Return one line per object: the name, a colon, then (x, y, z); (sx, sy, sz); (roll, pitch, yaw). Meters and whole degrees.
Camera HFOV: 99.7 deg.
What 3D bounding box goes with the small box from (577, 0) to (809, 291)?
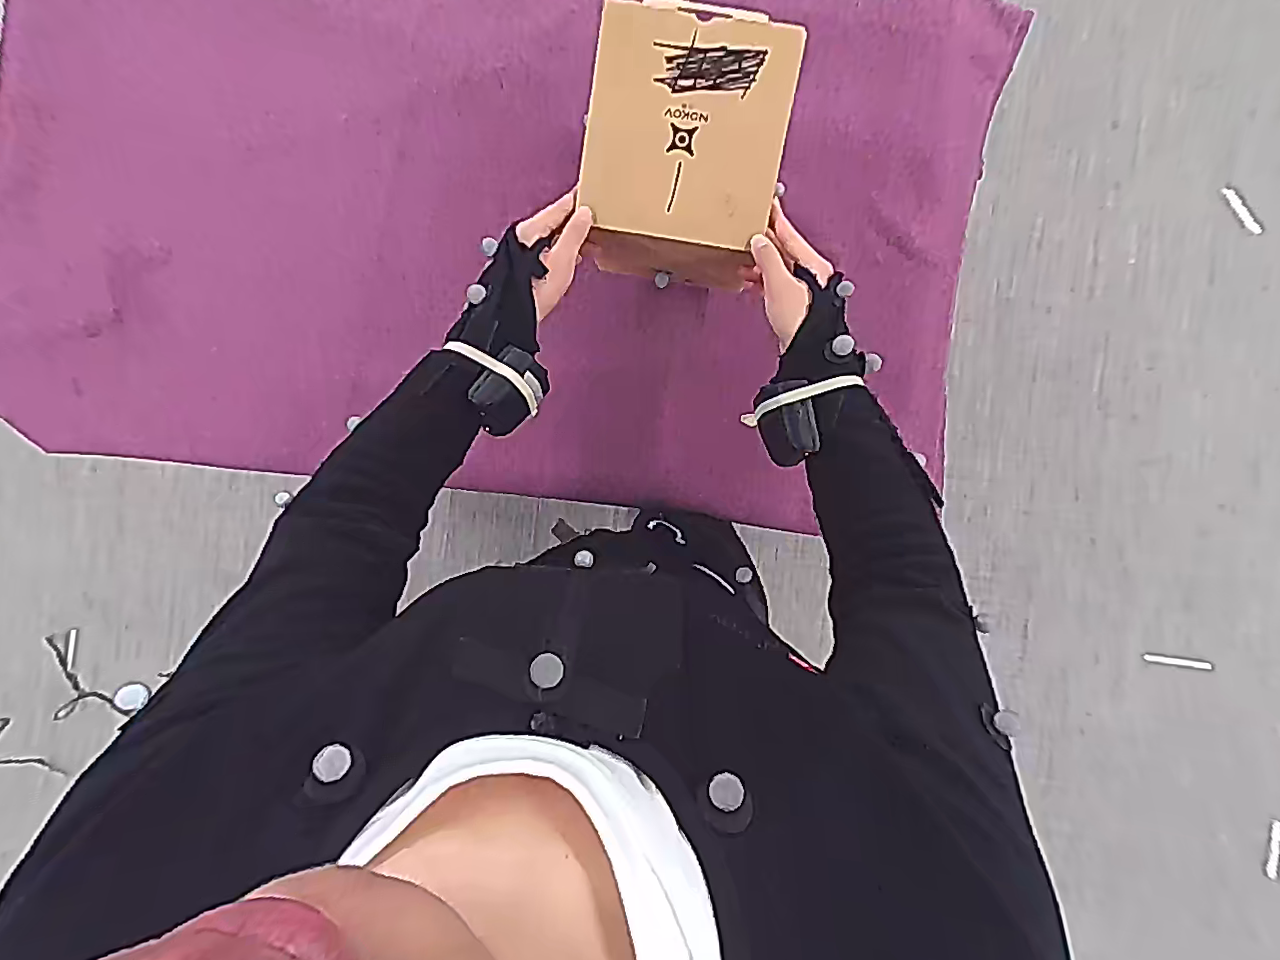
small box: (0.046, -0.300, 0.523); (0.168, 0.176, 0.179); (11, 98, 2)
